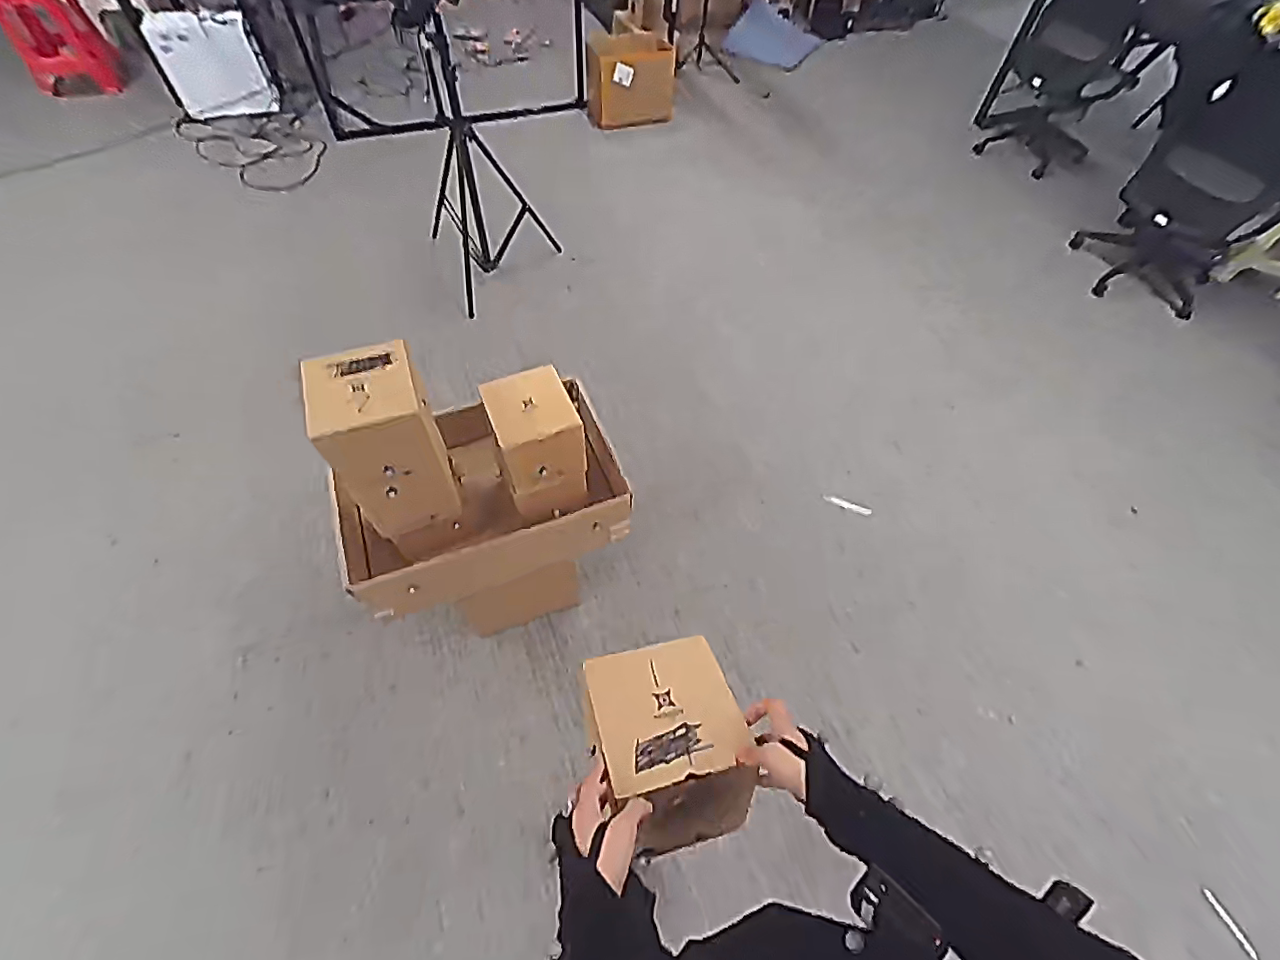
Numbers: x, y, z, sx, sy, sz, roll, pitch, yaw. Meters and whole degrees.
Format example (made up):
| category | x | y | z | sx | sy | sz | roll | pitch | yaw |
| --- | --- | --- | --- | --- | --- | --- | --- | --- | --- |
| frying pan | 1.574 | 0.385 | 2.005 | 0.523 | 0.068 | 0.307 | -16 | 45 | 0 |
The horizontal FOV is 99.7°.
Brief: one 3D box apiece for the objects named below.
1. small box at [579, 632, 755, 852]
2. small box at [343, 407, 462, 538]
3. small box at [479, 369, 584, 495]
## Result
| category | x | y | z | sx | sy | sz | roll | pitch | yaw |
| --- | --- | --- | --- | --- | --- | --- | --- | --- | --- |
| small box | 0.023 | 0.324 | 0.669 | 0.168 | 0.176 | 0.179 | -8 | 35 | -15 |
| small box | -0.470 | -0.013 | 1.080 | 0.168 | 0.176 | 0.179 | -18 | 58 | -14 |
| small box | -0.226 | -0.100 | 1.148 | 0.168 | 0.176 | 0.179 | -21 | 61 | -15 |
